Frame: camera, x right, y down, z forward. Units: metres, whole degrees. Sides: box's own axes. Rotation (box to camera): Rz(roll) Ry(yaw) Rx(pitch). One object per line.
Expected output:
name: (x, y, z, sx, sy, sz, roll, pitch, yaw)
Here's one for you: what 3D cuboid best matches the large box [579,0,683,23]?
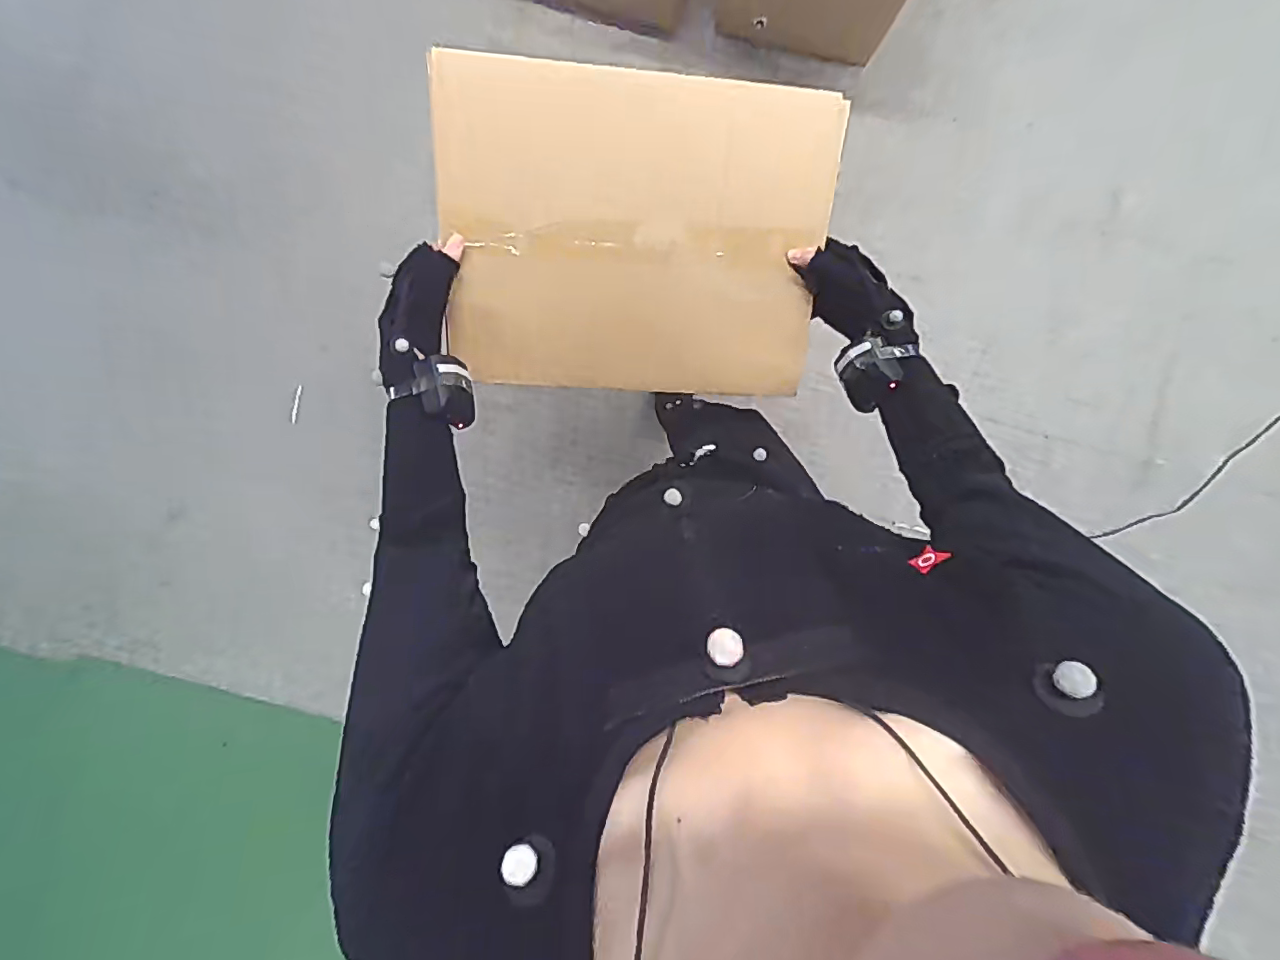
large box: (-0.065, -1.328, 1.205, 0.408, 0.320, 0.320, 16, 95, 1)
